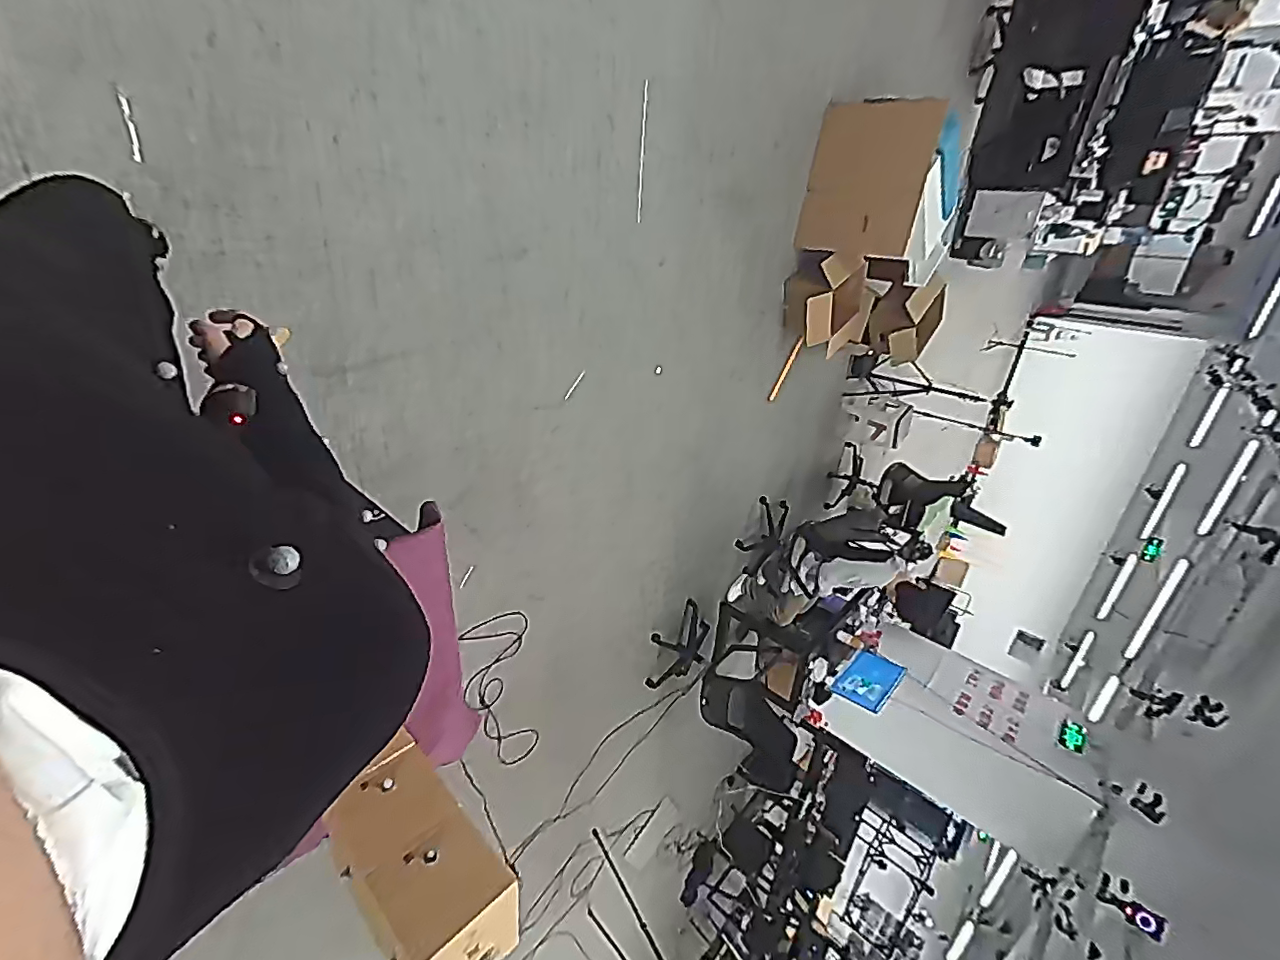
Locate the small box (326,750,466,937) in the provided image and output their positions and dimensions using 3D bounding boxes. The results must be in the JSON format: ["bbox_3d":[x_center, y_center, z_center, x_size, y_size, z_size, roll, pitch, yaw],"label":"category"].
[{"bbox_3d":[-0.426,0.624,0.951,0.168,0.176,0.179,-20,124,-45],"label":"small box"}]

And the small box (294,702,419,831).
[{"bbox_3d":[-0.542,0.565,1.051,0.168,0.176,0.179,-24,128,-42],"label":"small box"}]
